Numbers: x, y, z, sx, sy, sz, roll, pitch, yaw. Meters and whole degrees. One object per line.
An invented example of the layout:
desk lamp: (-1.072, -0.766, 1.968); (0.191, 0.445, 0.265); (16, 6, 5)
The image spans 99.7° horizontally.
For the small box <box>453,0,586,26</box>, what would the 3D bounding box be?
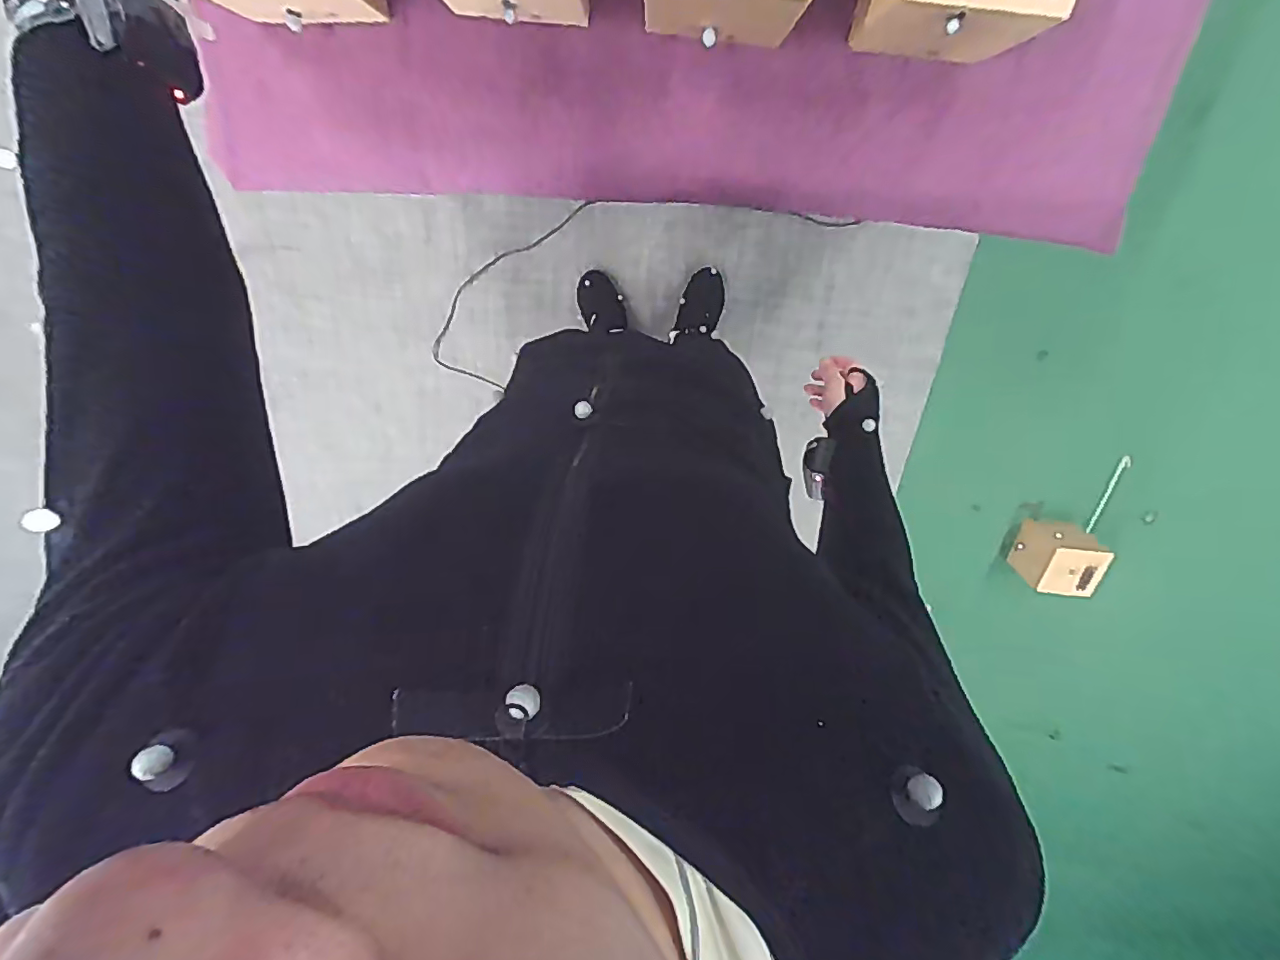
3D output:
small box: (-0.141, -0.600, 0.543); (0.168, 0.176, 0.179); (5, 116, -1)

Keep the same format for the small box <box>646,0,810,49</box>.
small box: (0.093, -0.577, 0.548); (0.168, 0.176, 0.179); (7, 117, -1)

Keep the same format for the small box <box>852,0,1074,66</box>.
small box: (0.337, -0.558, 0.549); (0.168, 0.176, 0.179); (6, 115, -1)

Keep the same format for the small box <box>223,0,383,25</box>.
small box: (-0.391, -0.601, 0.550); (0.168, 0.176, 0.179); (0, 116, 2)
